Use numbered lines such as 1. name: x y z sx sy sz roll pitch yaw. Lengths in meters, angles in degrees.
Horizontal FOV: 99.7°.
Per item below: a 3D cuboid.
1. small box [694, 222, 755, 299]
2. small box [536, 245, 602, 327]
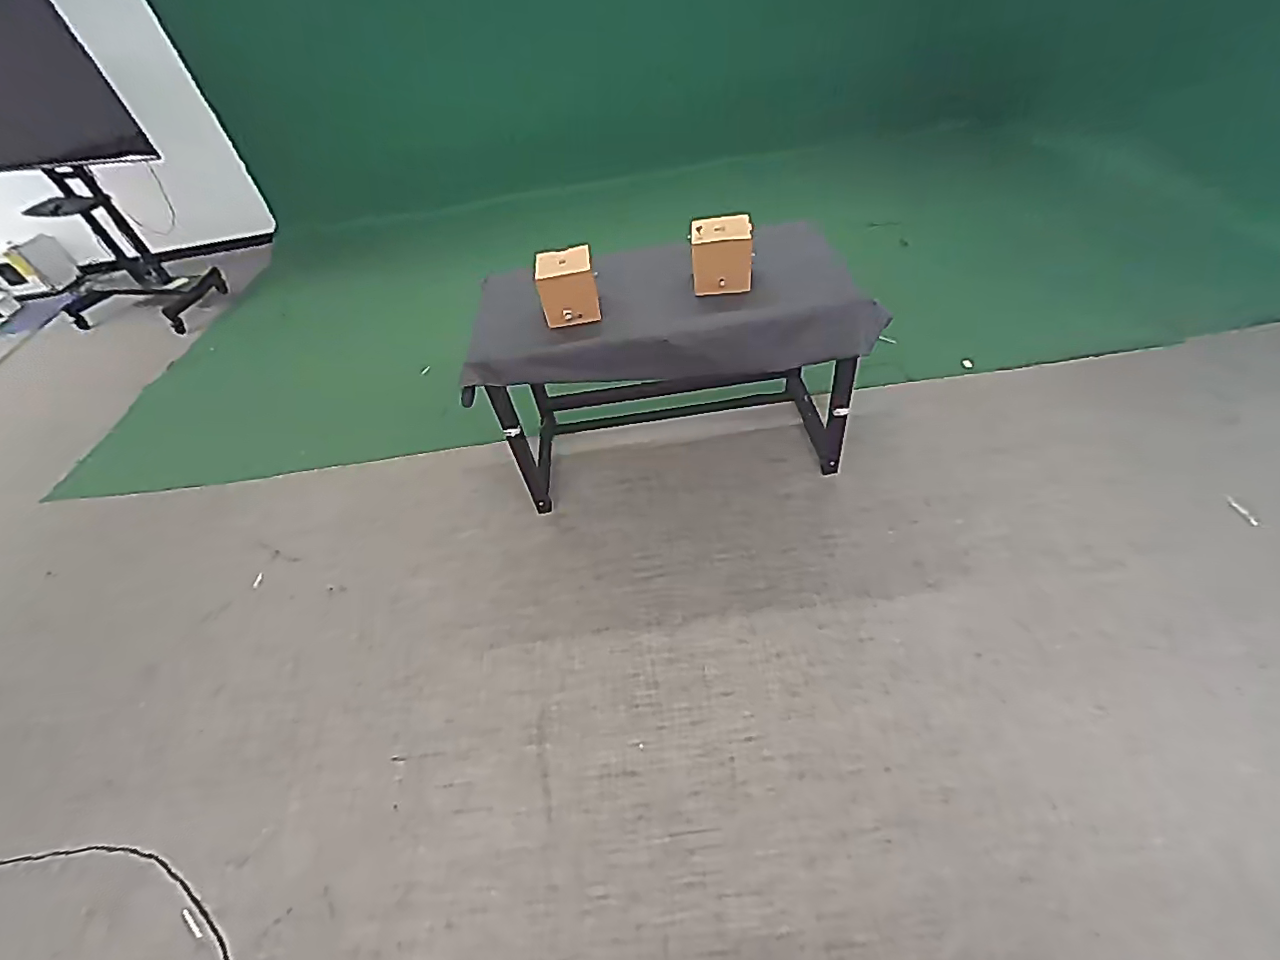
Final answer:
1. small box: 0.262 -0.682 1.686 0.179 0.176 0.168 -1 47 8
2. small box: -0.214 -0.597 1.669 0.168 0.176 0.179 -10 46 4
